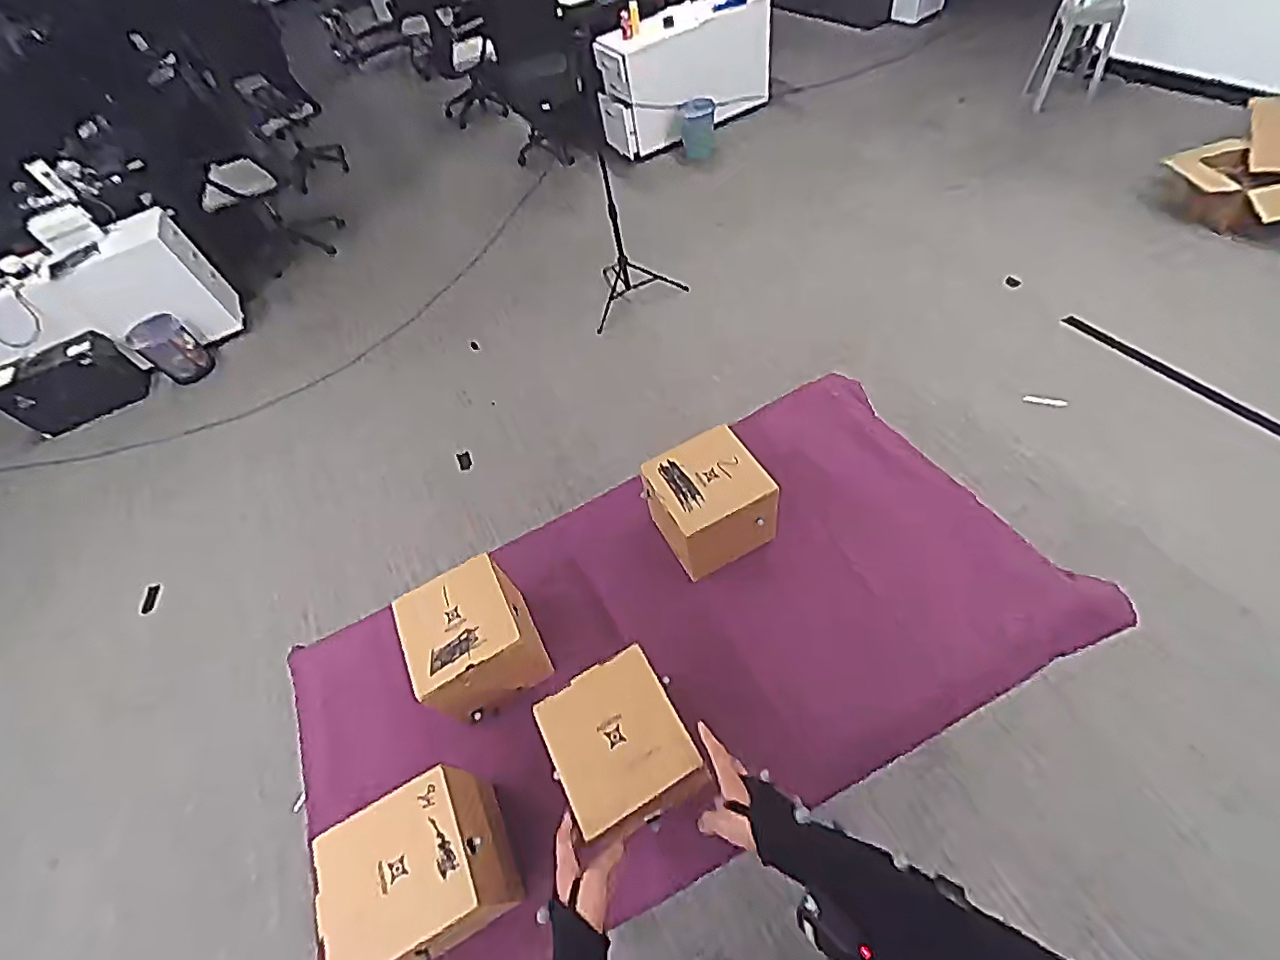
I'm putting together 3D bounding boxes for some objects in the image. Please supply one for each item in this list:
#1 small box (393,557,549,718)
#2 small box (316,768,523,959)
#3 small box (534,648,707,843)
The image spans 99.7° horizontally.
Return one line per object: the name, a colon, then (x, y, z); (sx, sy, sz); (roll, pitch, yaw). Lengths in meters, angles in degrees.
small box: (-0.269, 0.265, 0.883); (0.168, 0.176, 0.179); (-28, 53, -10)
small box: (-0.279, 0.511, 0.702); (0.179, 0.176, 0.168); (-28, 54, -9)
small box: (-0.022, 0.373, 0.753); (0.168, 0.176, 0.179); (-29, 56, -9)
